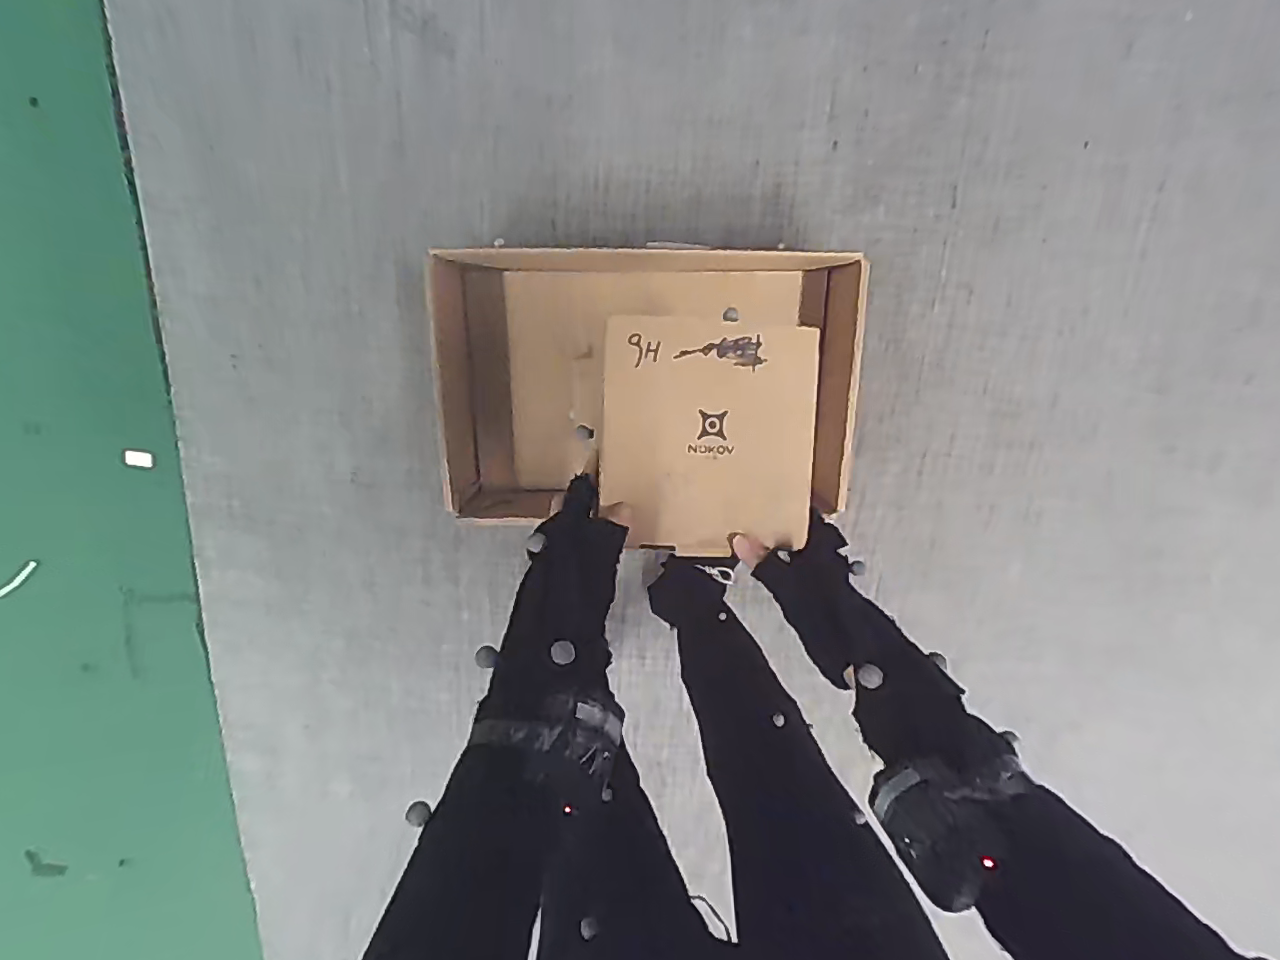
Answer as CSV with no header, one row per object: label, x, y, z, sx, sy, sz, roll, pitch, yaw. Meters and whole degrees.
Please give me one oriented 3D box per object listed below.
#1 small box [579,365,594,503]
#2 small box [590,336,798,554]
small box,0.013,-0.070,0.717,0.179,0.176,0.168,1,104,0
small box,0.037,-0.033,0.518,0.168,0.176,0.179,0,95,-6
